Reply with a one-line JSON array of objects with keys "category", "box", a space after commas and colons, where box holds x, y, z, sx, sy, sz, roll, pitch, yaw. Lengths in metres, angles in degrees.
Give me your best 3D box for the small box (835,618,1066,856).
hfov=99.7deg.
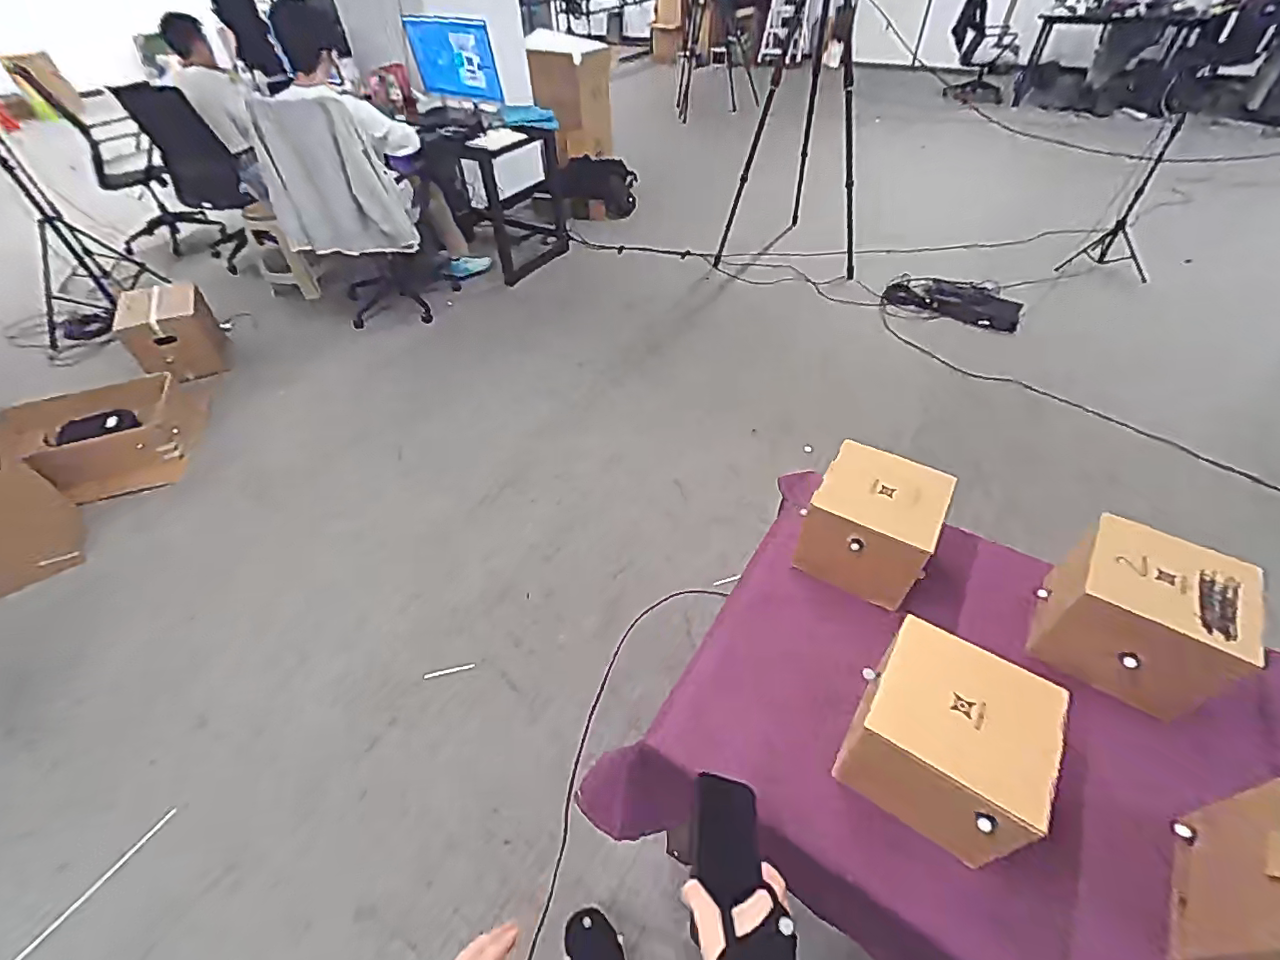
[{"category": "small box", "box": [0.356, 0.306, 0.644, 0.179, 0.176, 0.168, 27, 52, 24]}]
